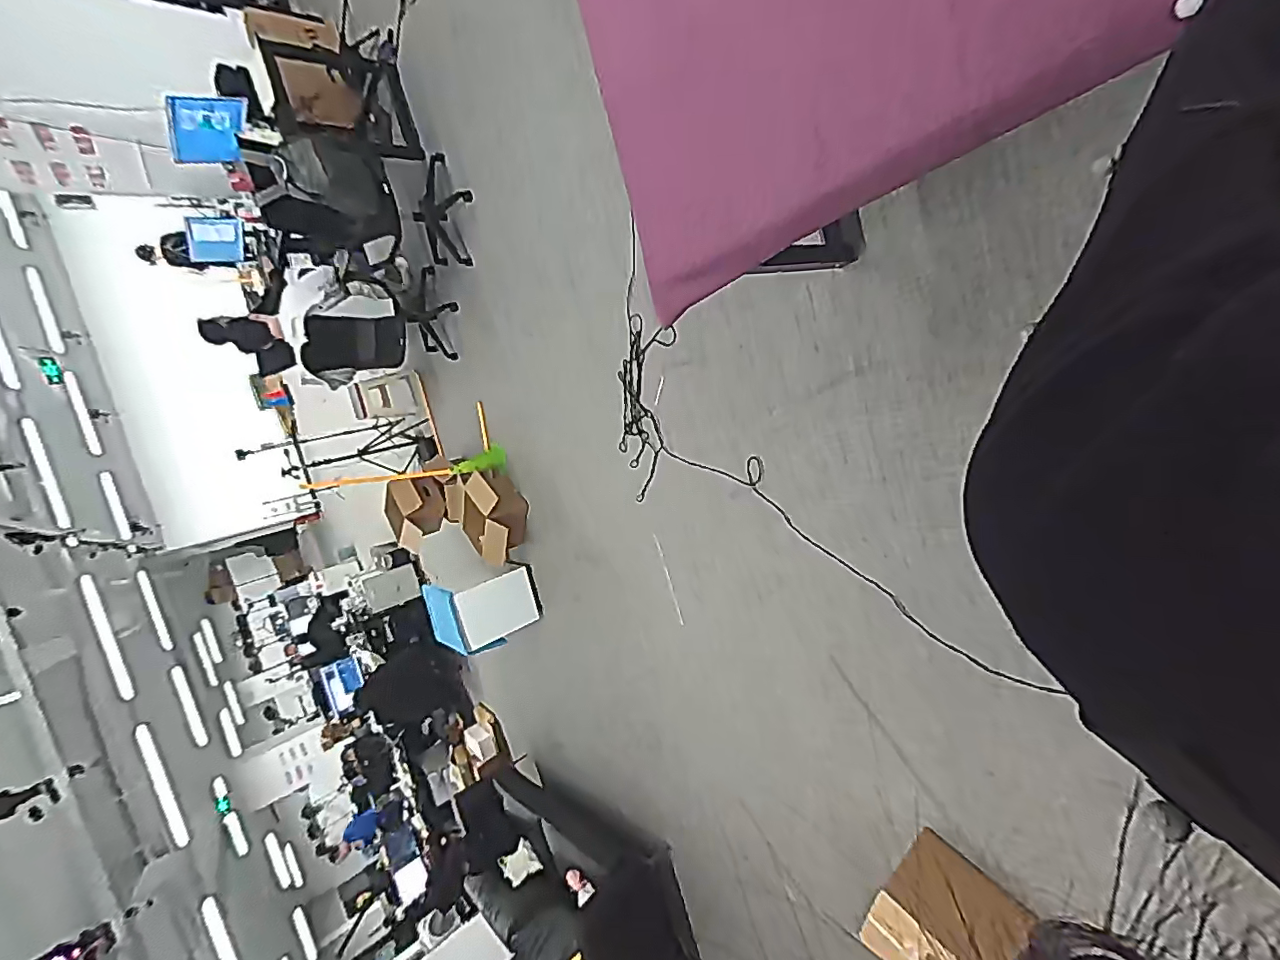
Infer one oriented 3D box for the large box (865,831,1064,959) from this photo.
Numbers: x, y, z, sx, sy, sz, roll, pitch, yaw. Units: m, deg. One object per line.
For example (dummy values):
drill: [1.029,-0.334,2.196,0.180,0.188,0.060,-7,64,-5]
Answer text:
large box: [1.002,1.438,1.696,0.408,0.320,0.320,32,129,42]
